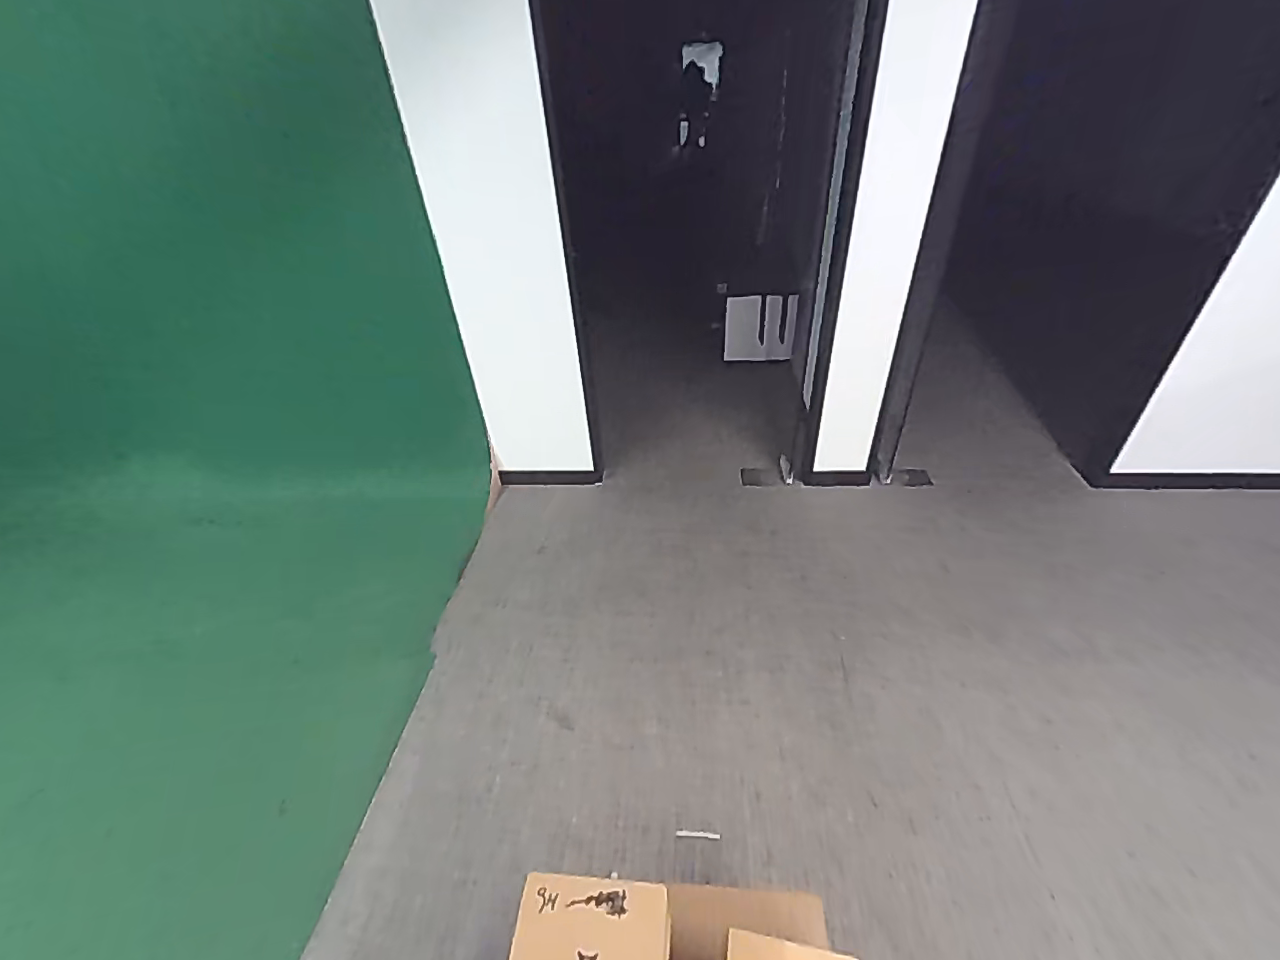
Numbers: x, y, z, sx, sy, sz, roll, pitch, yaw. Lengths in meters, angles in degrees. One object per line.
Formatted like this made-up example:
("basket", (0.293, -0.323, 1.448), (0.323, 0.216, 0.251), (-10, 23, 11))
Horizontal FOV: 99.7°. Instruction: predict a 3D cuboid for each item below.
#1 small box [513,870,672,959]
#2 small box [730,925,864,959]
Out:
("small box", (-0.051, 0.573, 0.607), (0.168, 0.176, 0.179), (2, 39, 5))
("small box", (0.190, 0.706, 0.675), (0.168, 0.176, 0.179), (3, 38, 12))
